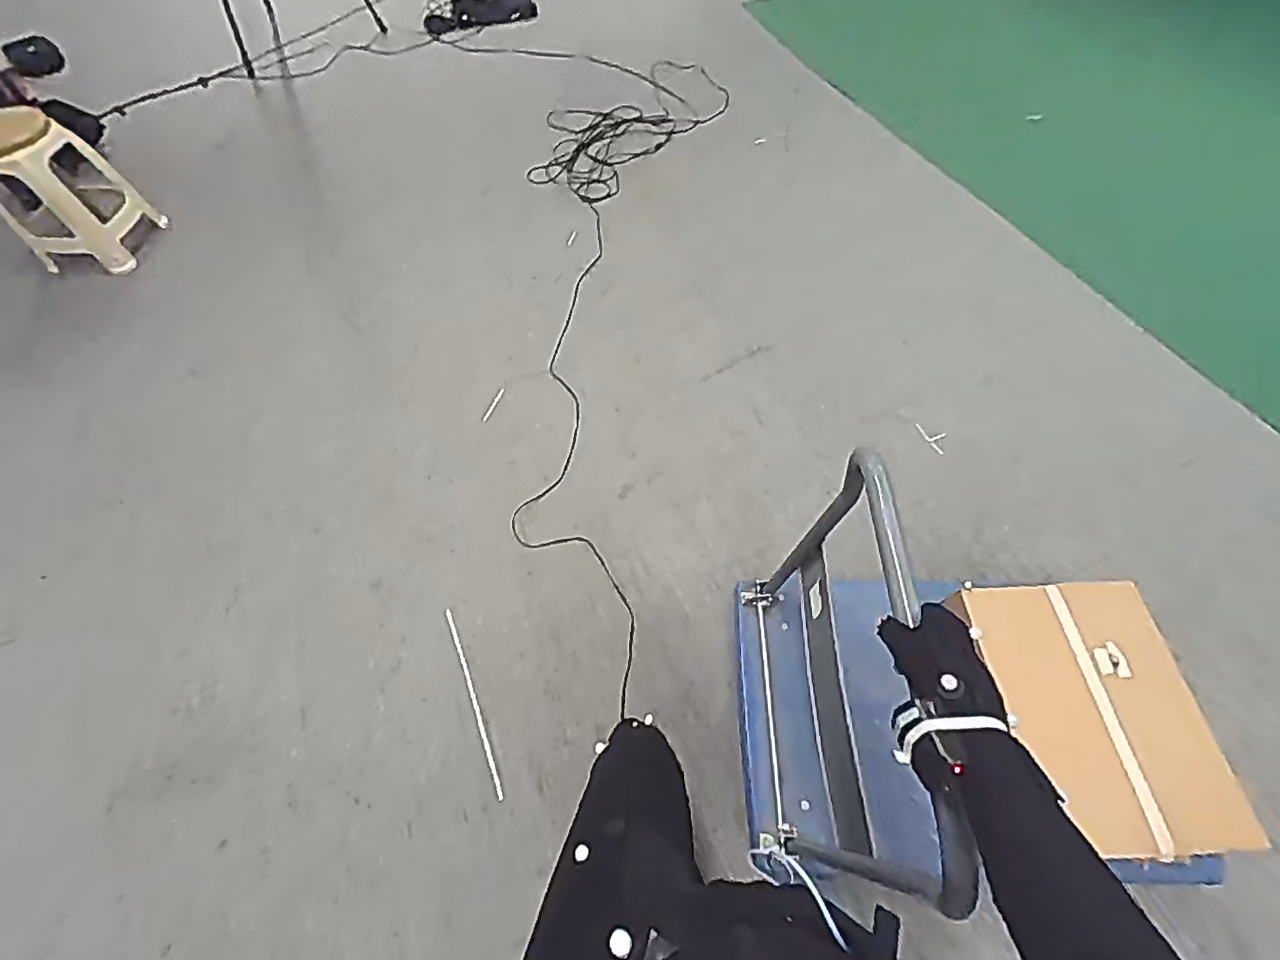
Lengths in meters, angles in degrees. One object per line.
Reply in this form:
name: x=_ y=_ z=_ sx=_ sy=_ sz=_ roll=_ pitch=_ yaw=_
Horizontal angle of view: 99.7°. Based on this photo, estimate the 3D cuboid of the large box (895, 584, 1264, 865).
large box: x=0.729 y=0.444 z=0.993 sx=0.320 sy=0.320 sz=0.408 roll=-3 pitch=59 yaw=-1
